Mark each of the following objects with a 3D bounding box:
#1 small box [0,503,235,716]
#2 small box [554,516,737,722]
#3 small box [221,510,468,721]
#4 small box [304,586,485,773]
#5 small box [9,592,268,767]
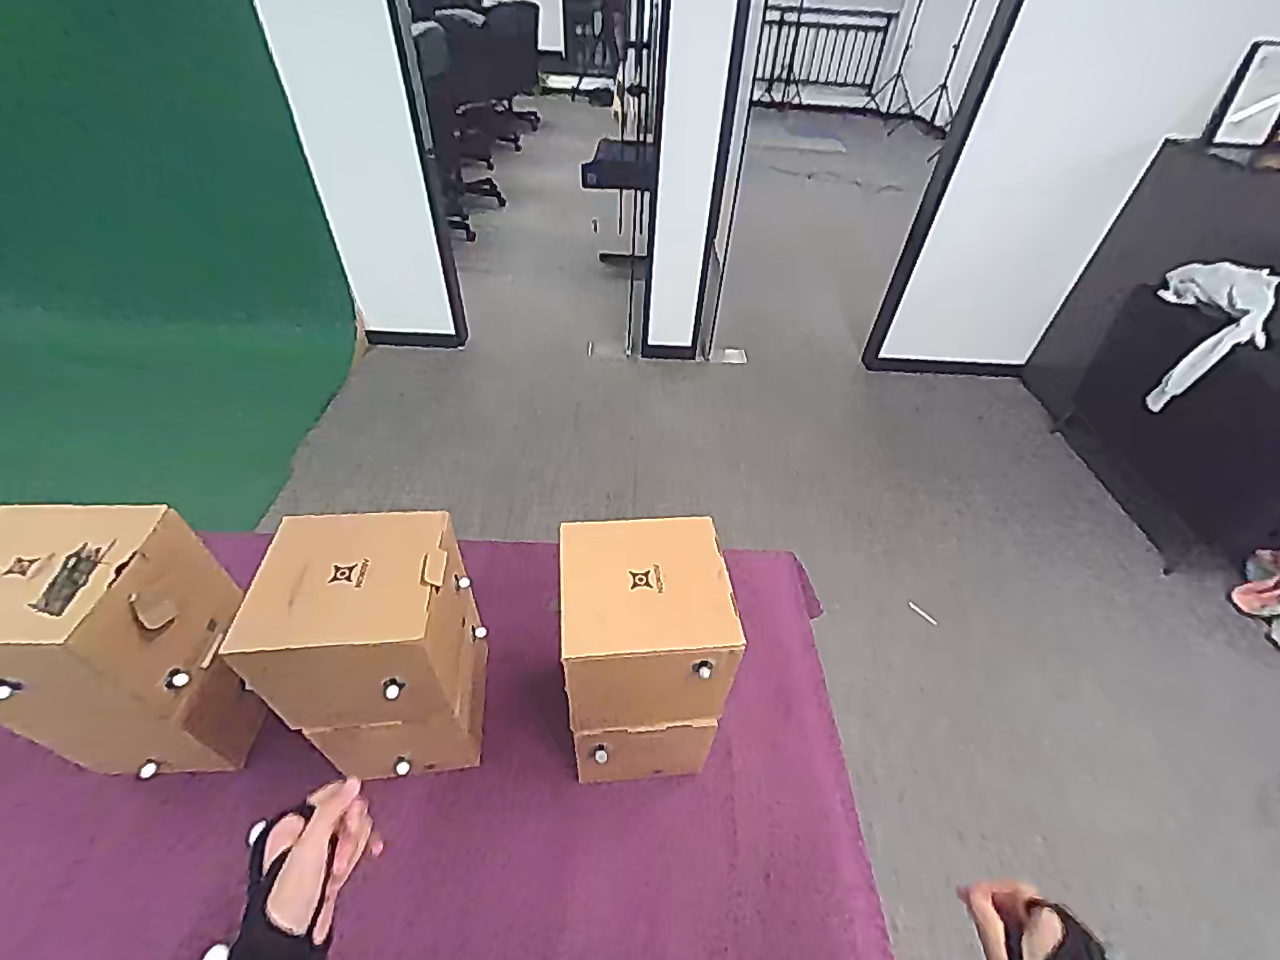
[{"bbox_3d":[-0.595,0.142,0.585,0.179,0.176,0.168,0,45,-3],"label":"small box"},{"bbox_3d":[-0.004,0.160,0.616,0.179,0.176,0.168,-2,45,-7],"label":"small box"},{"bbox_3d":[-0.300,0.151,0.602,0.179,0.176,0.168,-2,45,-5],"label":"small box"},{"bbox_3d":[-0.306,0.264,0.720,0.168,0.176,0.179,-3,46,-7],"label":"small box"},{"bbox_3d":[-0.604,0.258,0.701,0.179,0.176,0.168,1,45,-4],"label":"small box"}]
